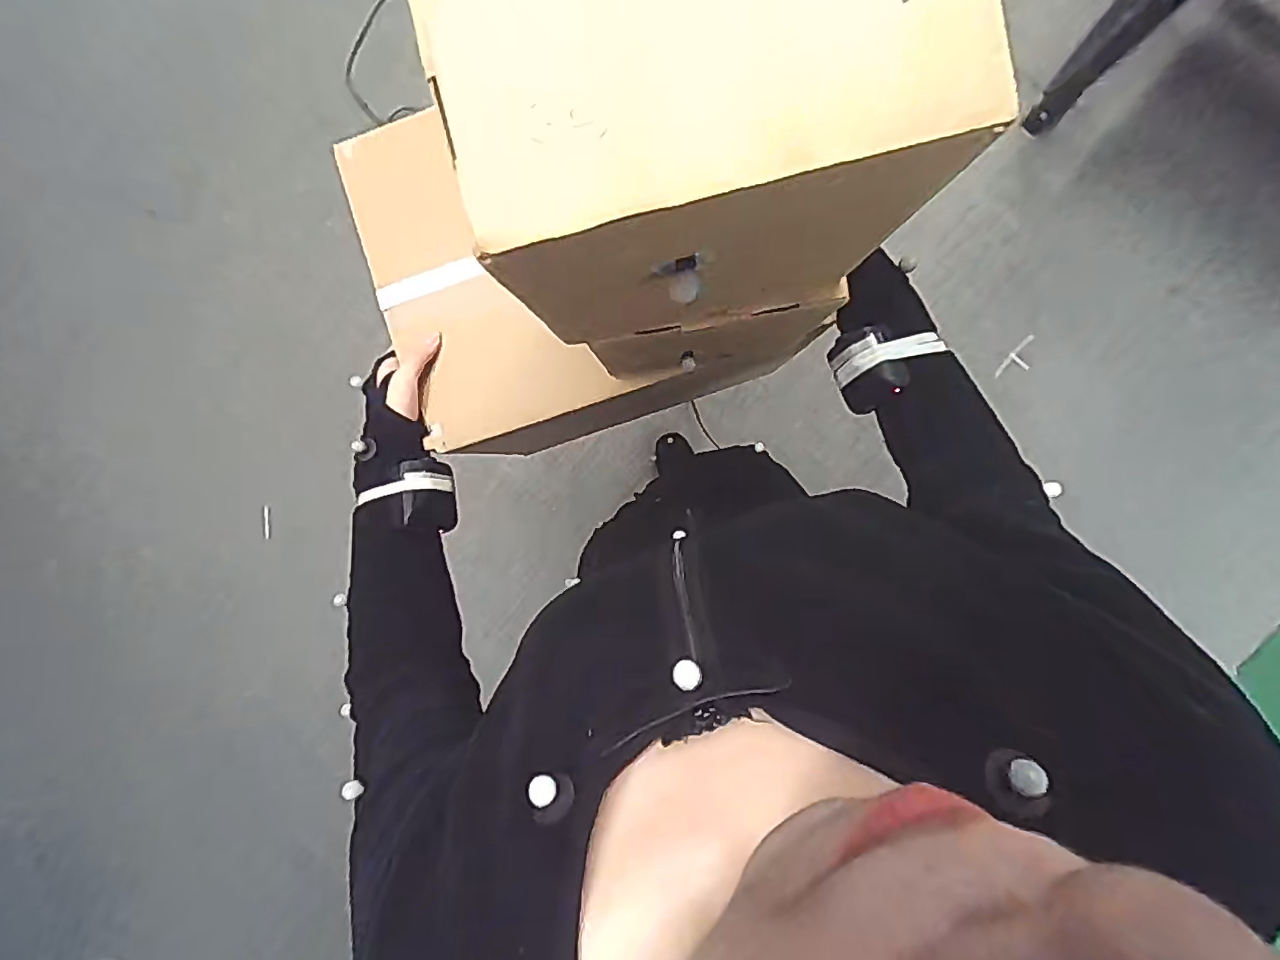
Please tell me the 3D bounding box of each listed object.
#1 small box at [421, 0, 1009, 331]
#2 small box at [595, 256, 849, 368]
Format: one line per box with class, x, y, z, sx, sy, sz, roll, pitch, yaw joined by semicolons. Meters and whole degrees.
small box;0.019;-0.177;0.247;0.179;0.176;0.168;-12;95;5
small box;0.041;-0.192;0.410;0.168;0.176;0.179;-8;95;4
